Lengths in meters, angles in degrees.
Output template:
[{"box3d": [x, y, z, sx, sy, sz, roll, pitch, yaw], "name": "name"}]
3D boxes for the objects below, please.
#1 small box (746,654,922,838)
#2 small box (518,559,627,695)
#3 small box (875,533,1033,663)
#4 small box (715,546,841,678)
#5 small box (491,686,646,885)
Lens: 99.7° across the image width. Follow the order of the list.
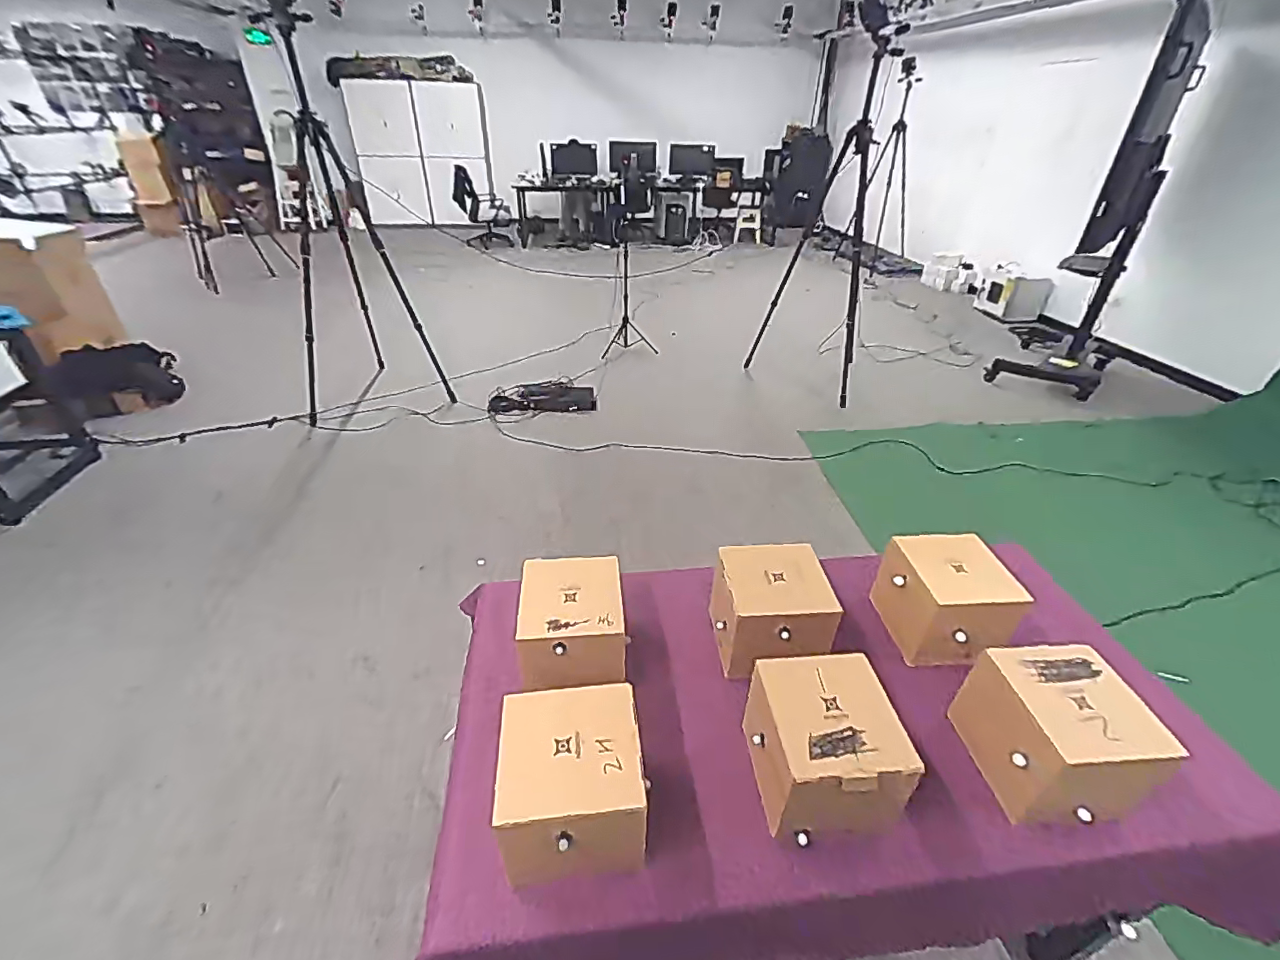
[{"box3d": [0.255, 0.373, 0.757, 0.168, 0.176, 0.179, -2, 33, -4], "name": "small box"}, {"box3d": [-0.111, 0.257, 0.926, 0.168, 0.176, 0.179, -2, 33, -5], "name": "small box"}, {"box3d": [0.559, 0.219, 0.991, 0.168, 0.176, 0.179, -2, 33, -3], "name": "small box"}, {"box3d": [0.232, 0.236, 0.965, 0.179, 0.176, 0.168, -1, 35, -3], "name": "small box"}, {"box3d": [-0.087, 0.400, 0.711, 0.179, 0.176, 0.168, -4, 34, -6], "name": "small box"}]
